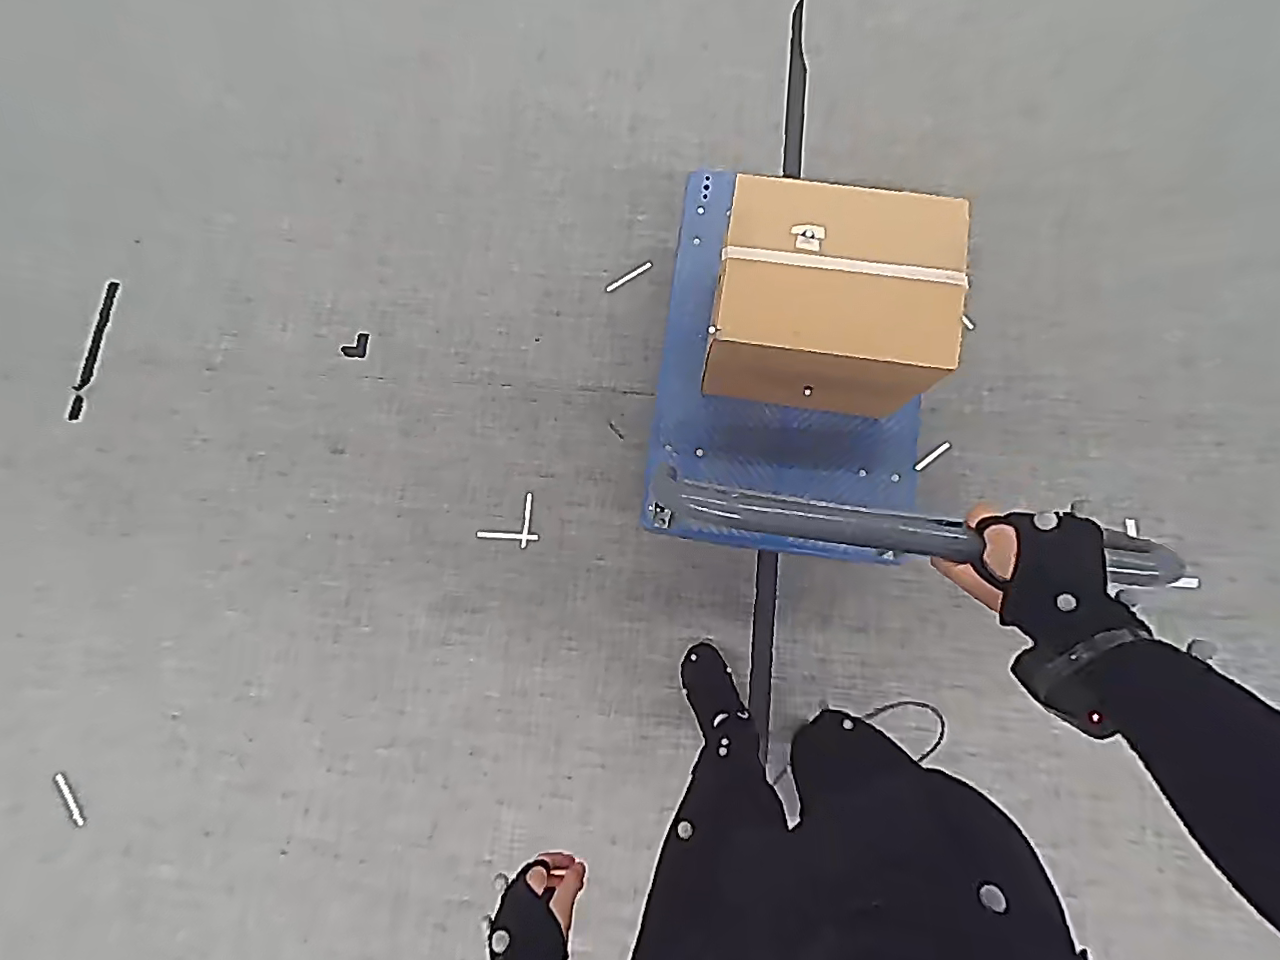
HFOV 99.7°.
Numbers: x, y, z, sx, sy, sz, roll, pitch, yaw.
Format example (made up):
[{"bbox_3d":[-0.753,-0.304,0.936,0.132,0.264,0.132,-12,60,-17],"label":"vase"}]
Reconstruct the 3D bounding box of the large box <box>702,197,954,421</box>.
[{"bbox_3d":[0.351,-0.321,1.096,0.408,0.320,0.320,8,81,5],"label":"large box"}]
